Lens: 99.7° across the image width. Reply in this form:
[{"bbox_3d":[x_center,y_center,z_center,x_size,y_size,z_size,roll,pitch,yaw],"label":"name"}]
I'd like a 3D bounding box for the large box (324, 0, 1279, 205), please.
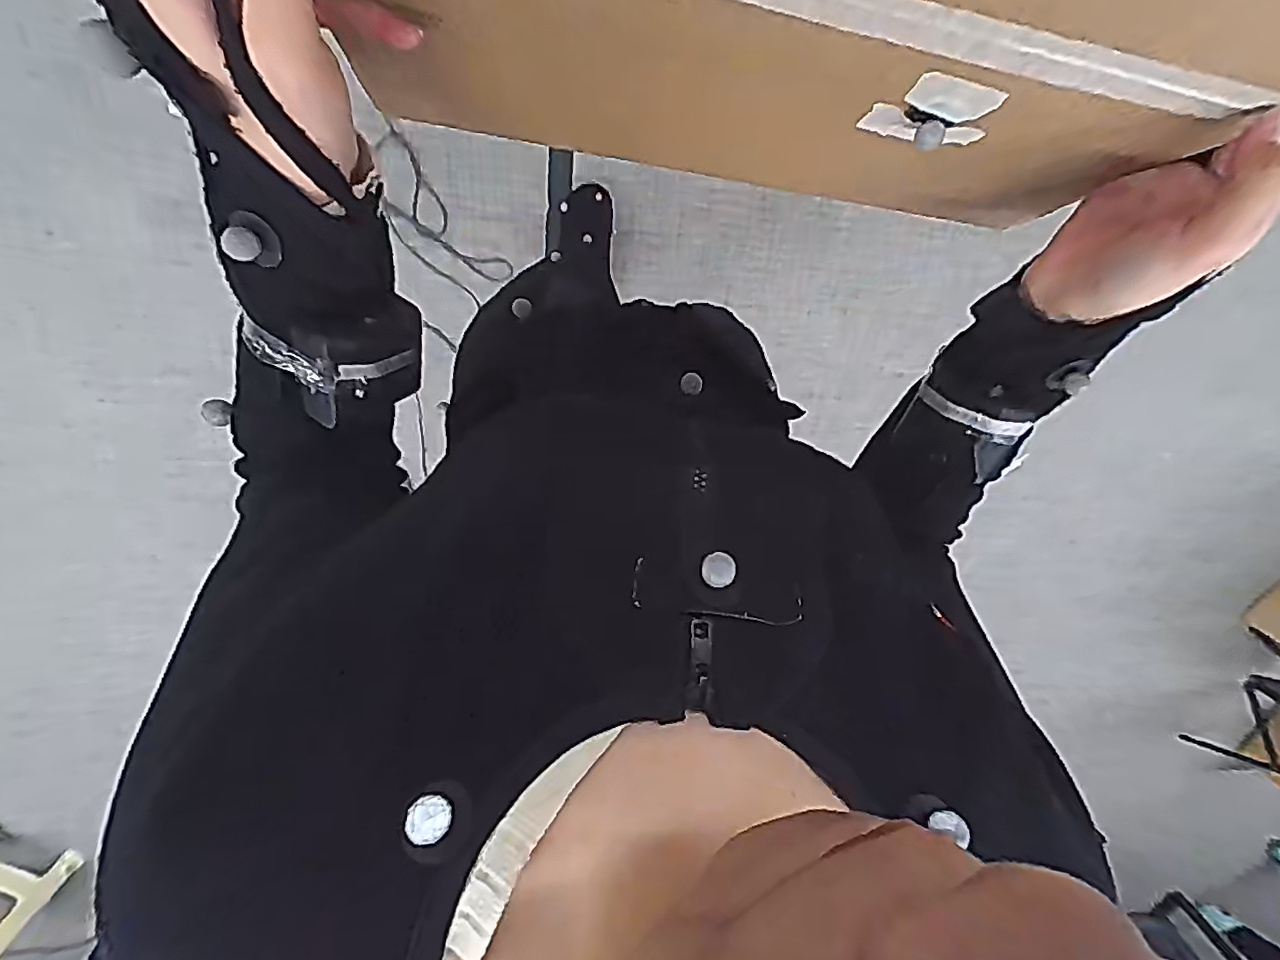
[{"bbox_3d":[0.084,-0.329,0.174,0.408,0.320,0.320,3,98,-10],"label":"large box"}]
